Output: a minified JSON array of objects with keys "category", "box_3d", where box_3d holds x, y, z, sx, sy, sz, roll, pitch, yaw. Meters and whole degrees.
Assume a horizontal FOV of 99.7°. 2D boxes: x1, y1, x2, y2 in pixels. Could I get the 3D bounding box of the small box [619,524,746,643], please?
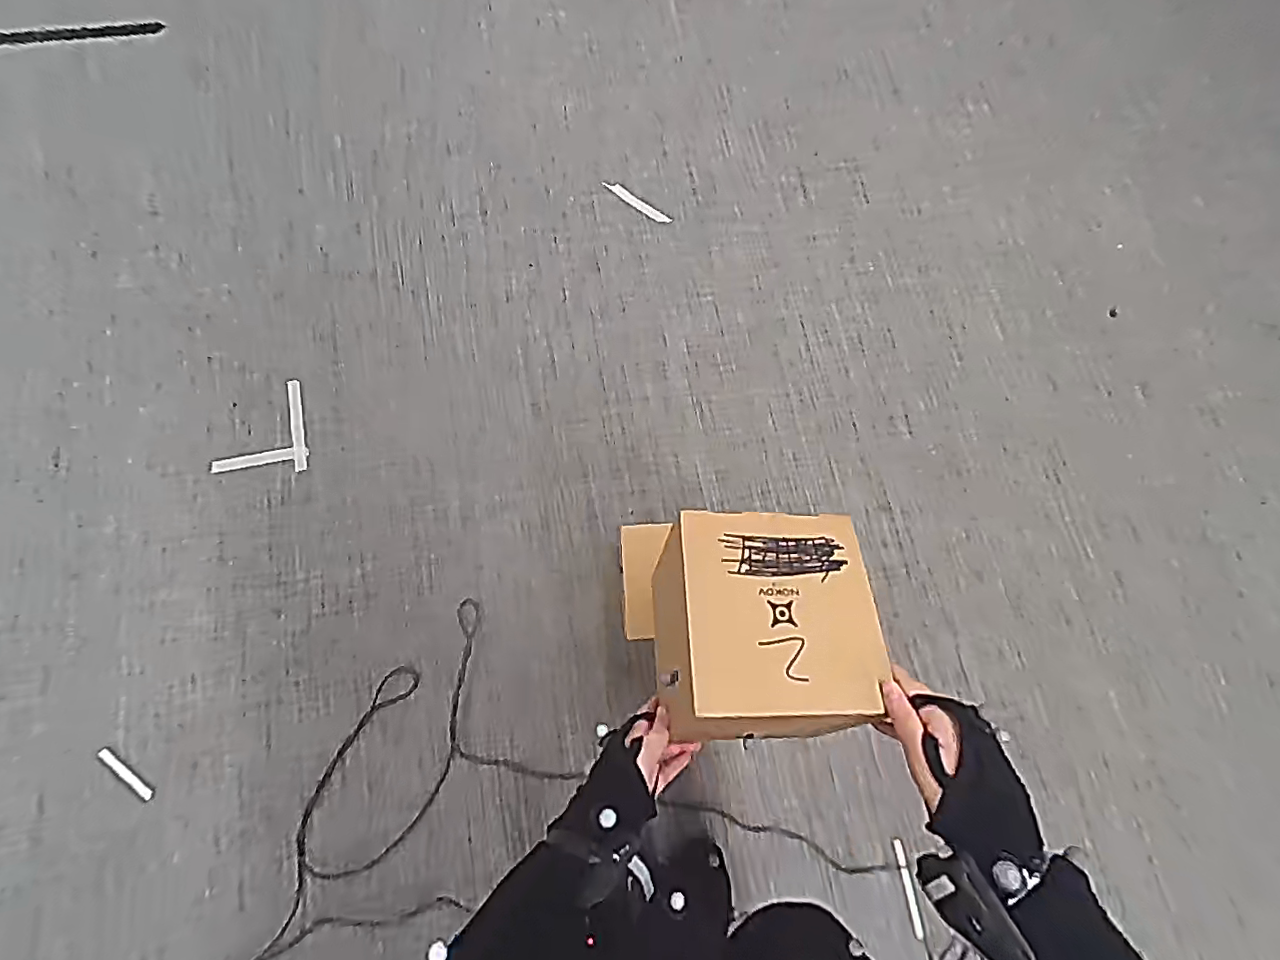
[{"category":"small box","box_3d":[0.057,0.169,0.862,0.179,0.176,0.168,-3,75,-5]}]
